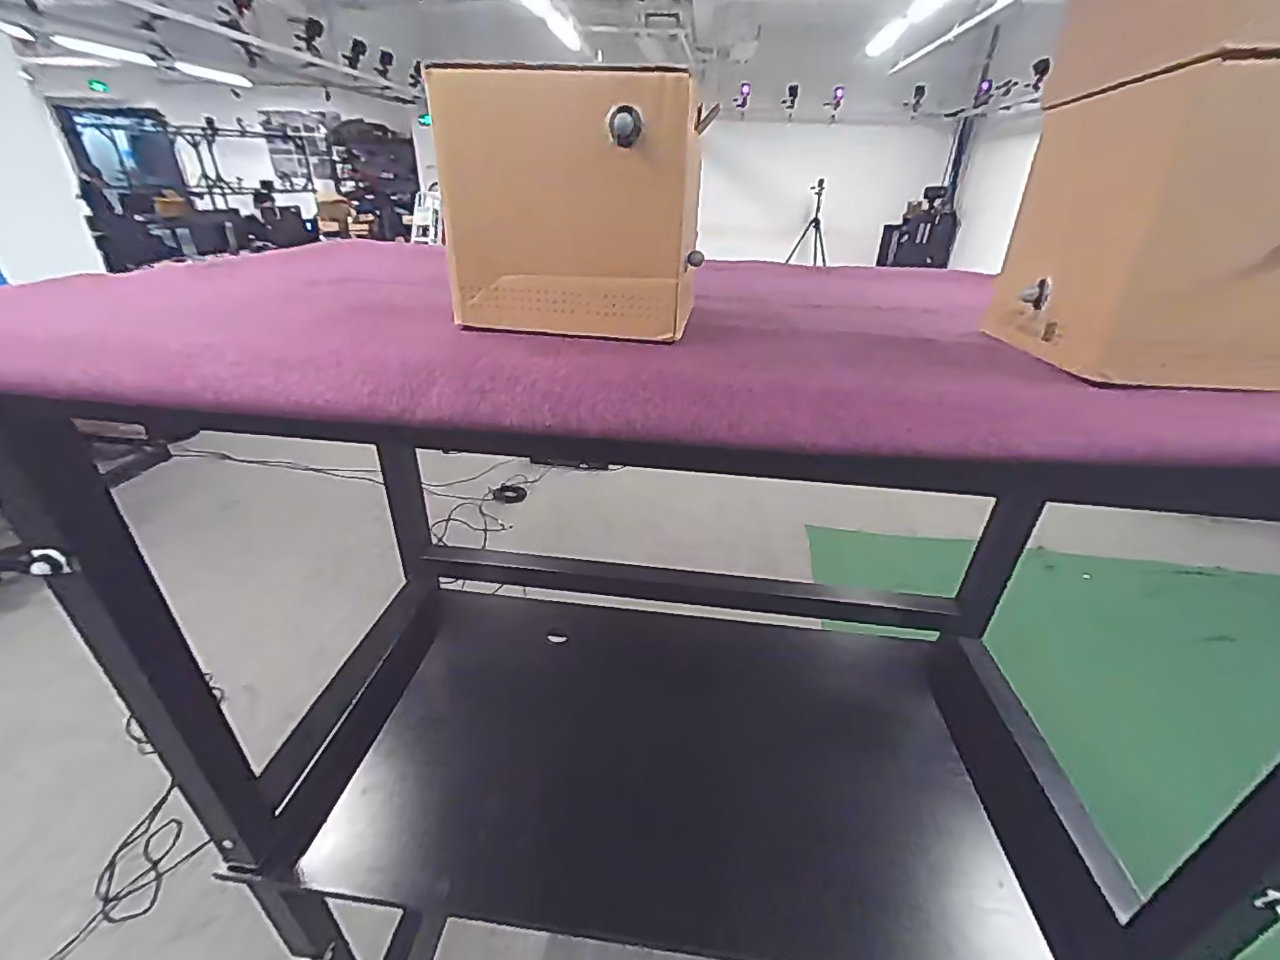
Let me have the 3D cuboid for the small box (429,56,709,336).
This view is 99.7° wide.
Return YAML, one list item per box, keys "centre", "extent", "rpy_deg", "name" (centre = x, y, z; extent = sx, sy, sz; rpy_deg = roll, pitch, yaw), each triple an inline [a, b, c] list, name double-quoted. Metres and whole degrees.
- centre: [-0.041, -0.218, 0.438]
  extent: [0.179, 0.176, 0.168]
  rpy_deg: [6, 28, 6]
  name: "small box"

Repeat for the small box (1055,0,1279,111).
- centre: [0.374, -0.311, 0.287]
  extent: [0.168, 0.176, 0.179]
  rpy_deg: [5, 27, 7]
  name: "small box"
